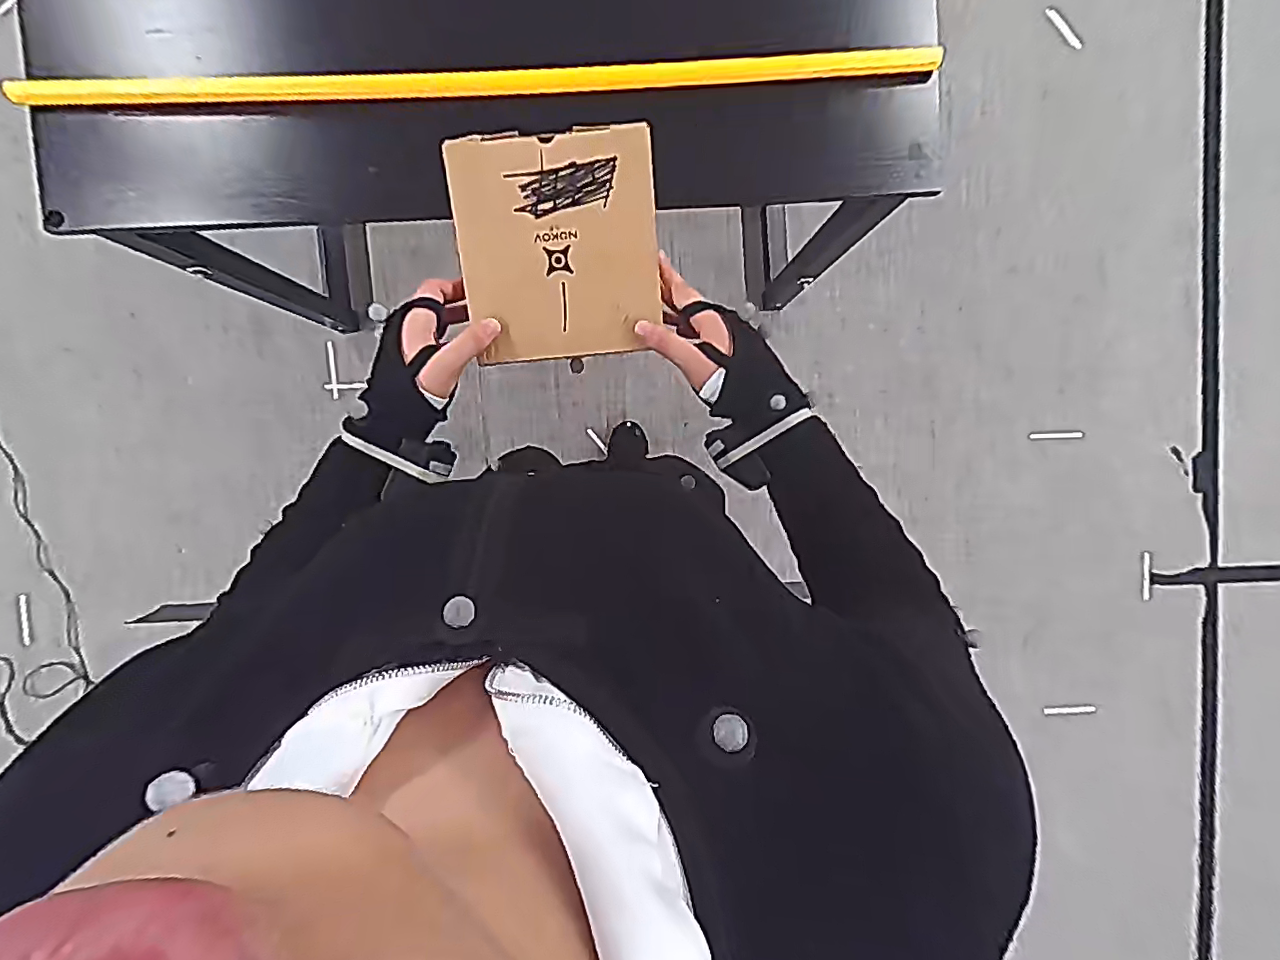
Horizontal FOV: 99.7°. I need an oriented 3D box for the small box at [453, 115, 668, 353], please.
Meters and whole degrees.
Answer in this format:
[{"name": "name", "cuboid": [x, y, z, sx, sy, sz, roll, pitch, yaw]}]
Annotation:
[{"name": "small box", "cuboid": [-0.065, -0.218, 0.526, 0.168, 0.176, 0.179, -5, 104, 0]}]
